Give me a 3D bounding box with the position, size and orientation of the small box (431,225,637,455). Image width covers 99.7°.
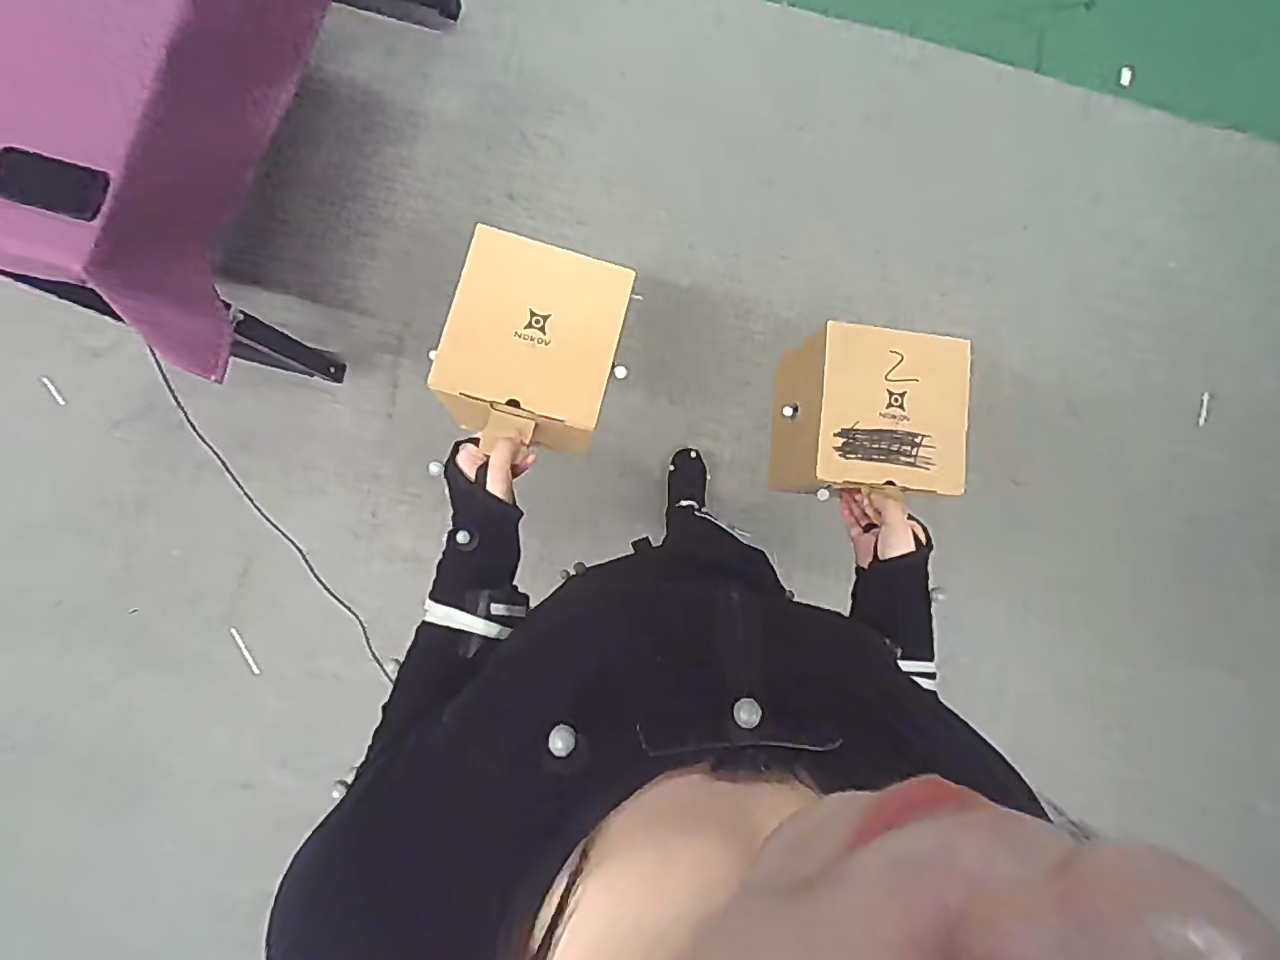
[{"bbox_3d":[-0.113,-0.140,0.608,0.168,0.176,0.179,15,82,-7],"label":"small box"}]
